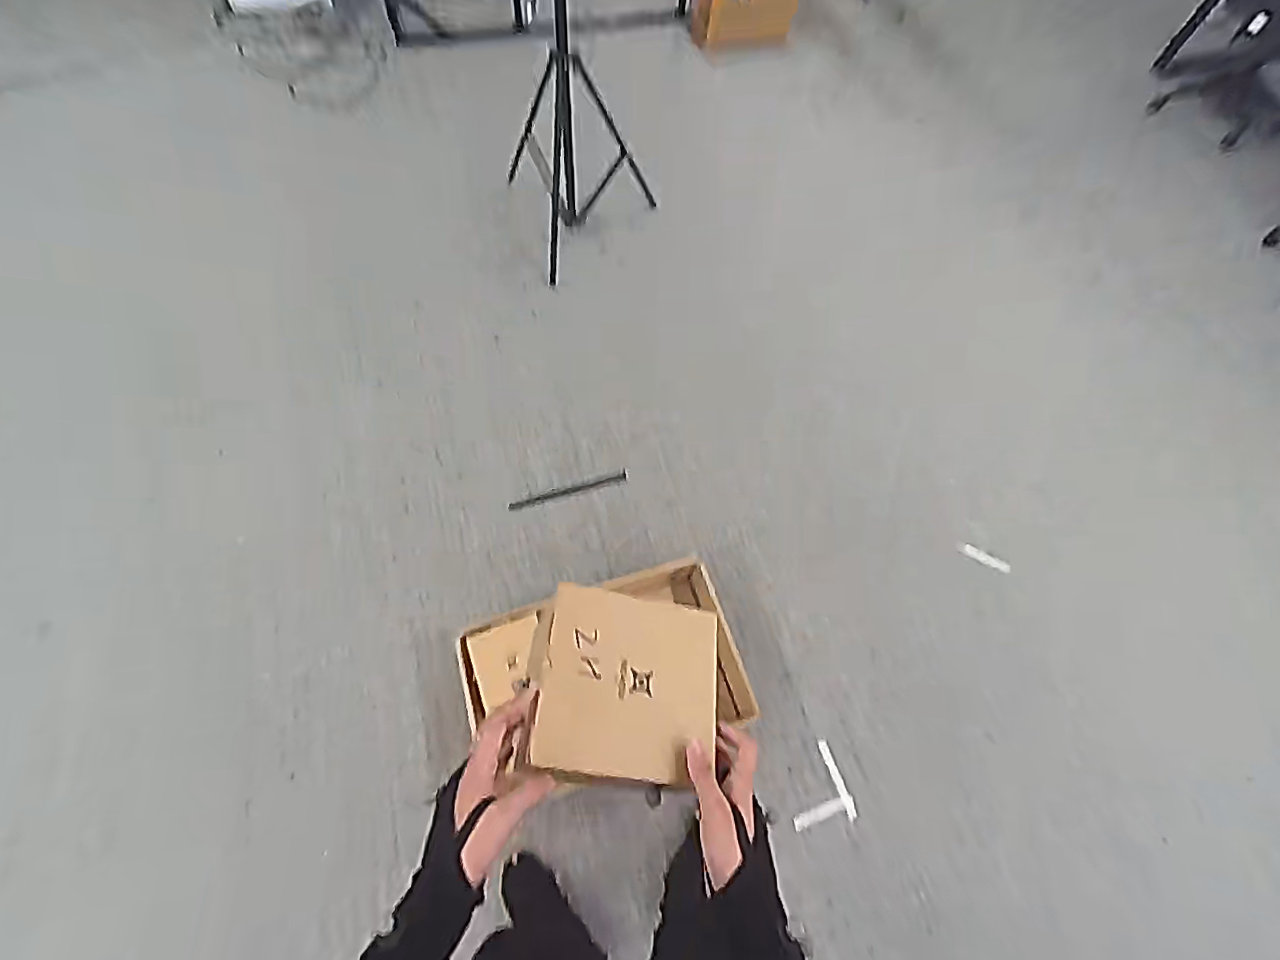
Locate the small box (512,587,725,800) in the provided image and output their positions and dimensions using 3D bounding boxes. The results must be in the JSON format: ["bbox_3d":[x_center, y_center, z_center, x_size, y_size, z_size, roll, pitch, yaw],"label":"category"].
[{"bbox_3d":[-0.025,0.232,0.571,0.179,0.176,0.168,14,56,-11],"label":"small box"}]
